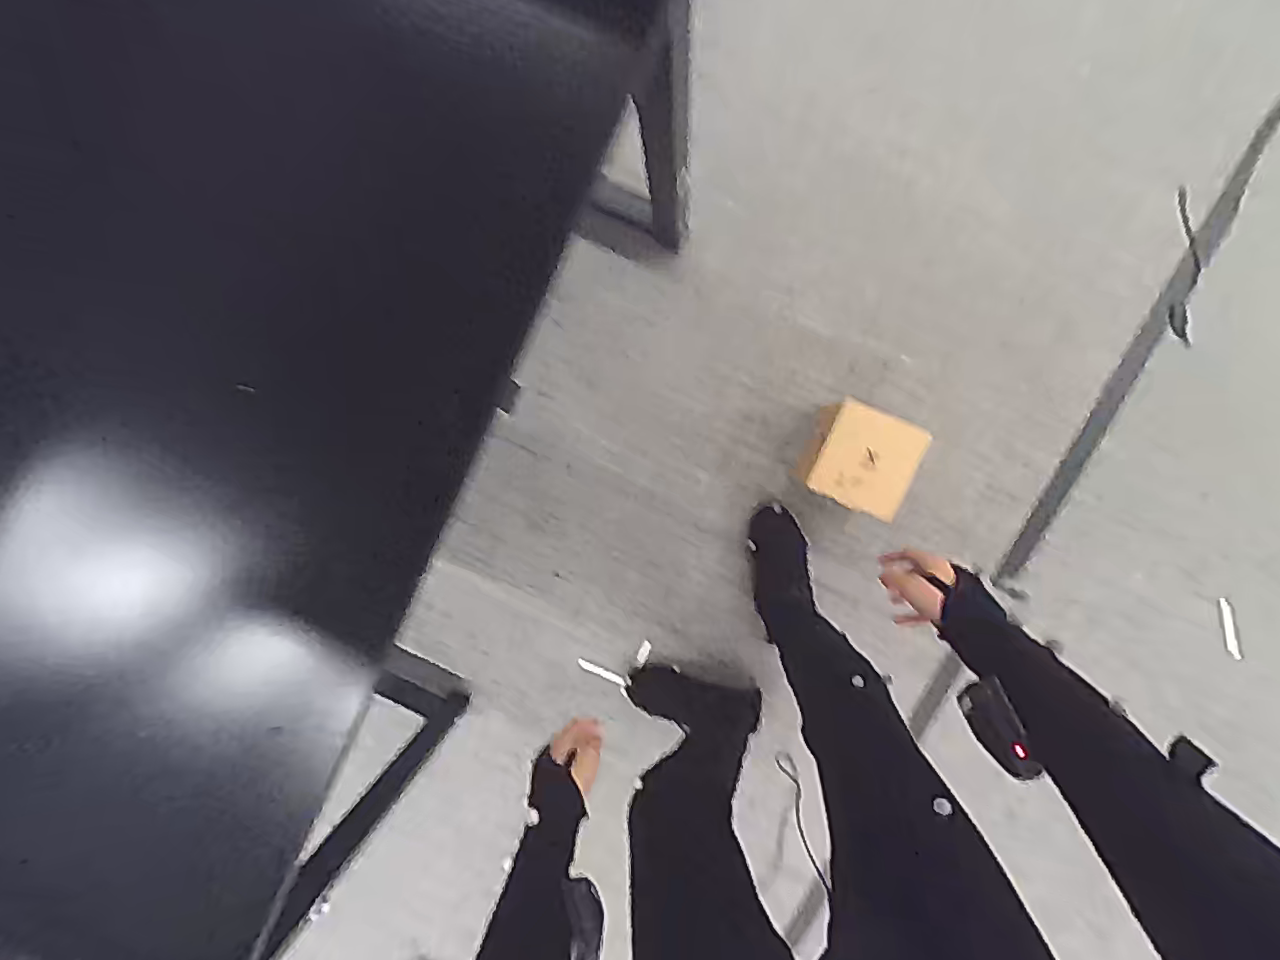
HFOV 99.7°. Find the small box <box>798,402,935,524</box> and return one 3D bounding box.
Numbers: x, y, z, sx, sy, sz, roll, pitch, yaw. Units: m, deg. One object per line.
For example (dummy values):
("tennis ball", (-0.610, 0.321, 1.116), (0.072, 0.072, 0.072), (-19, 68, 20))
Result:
("small box", (0.426, -0.037, 1.052), (0.168, 0.176, 0.179), (23, 97, 3))
